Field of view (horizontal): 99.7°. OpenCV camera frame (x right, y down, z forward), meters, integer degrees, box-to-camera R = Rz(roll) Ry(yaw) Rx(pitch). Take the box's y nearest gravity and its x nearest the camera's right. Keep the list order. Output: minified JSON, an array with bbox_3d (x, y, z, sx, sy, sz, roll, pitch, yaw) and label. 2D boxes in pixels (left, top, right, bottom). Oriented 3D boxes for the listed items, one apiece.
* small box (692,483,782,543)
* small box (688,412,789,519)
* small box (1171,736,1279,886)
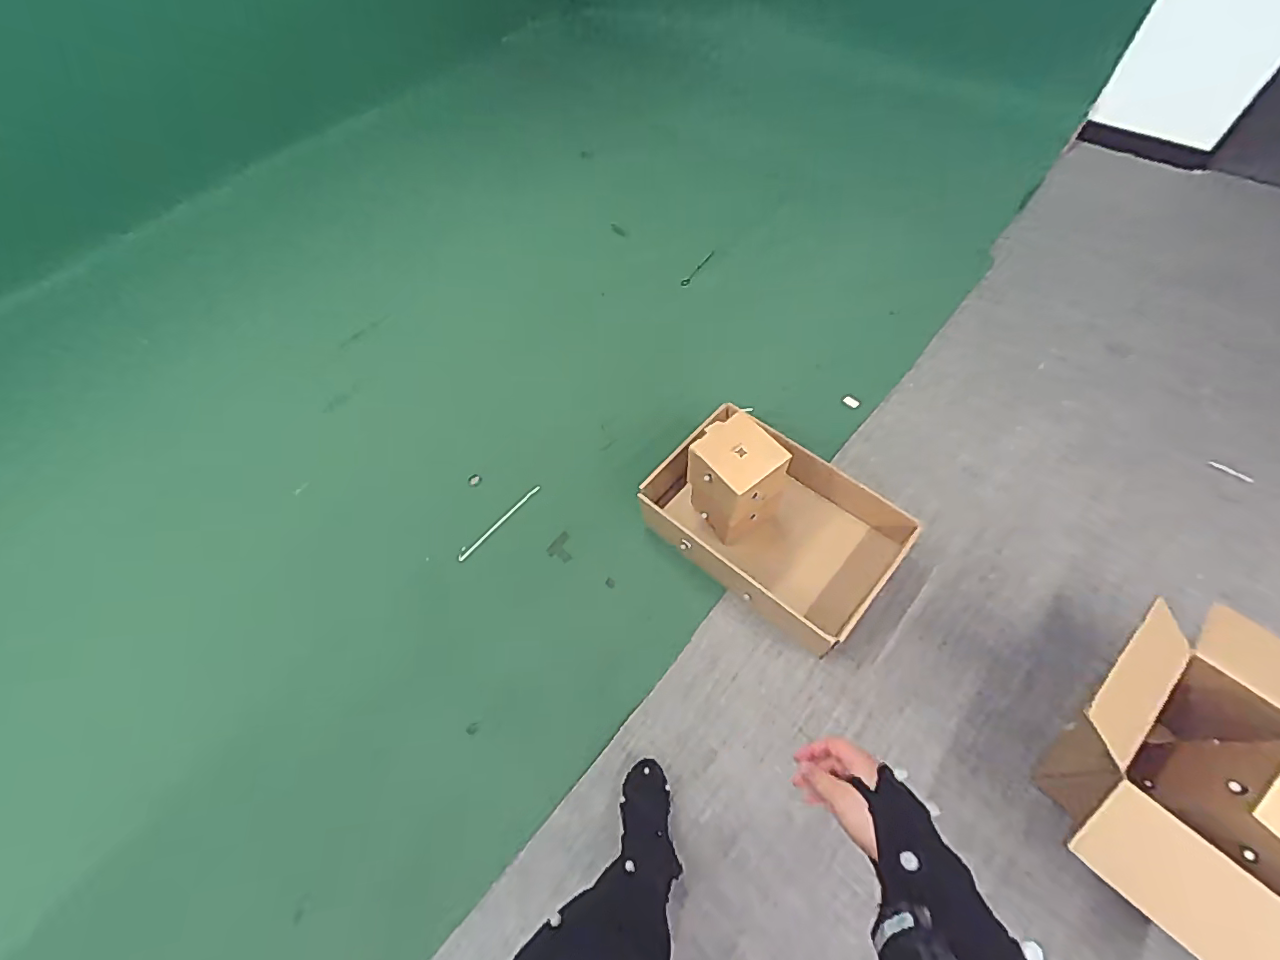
[{"bbox_3d":[0.253,0.039,1.470,0.179,0.176,0.168,-31,63,-14],"label":"small box"},{"bbox_3d":[0.233,-0.026,1.321,0.168,0.176,0.179,-35,64,-16],"label":"small box"},{"bbox_3d":[1.095,0.574,0.936,0.179,0.176,0.168,-37,67,-15],"label":"small box"}]
